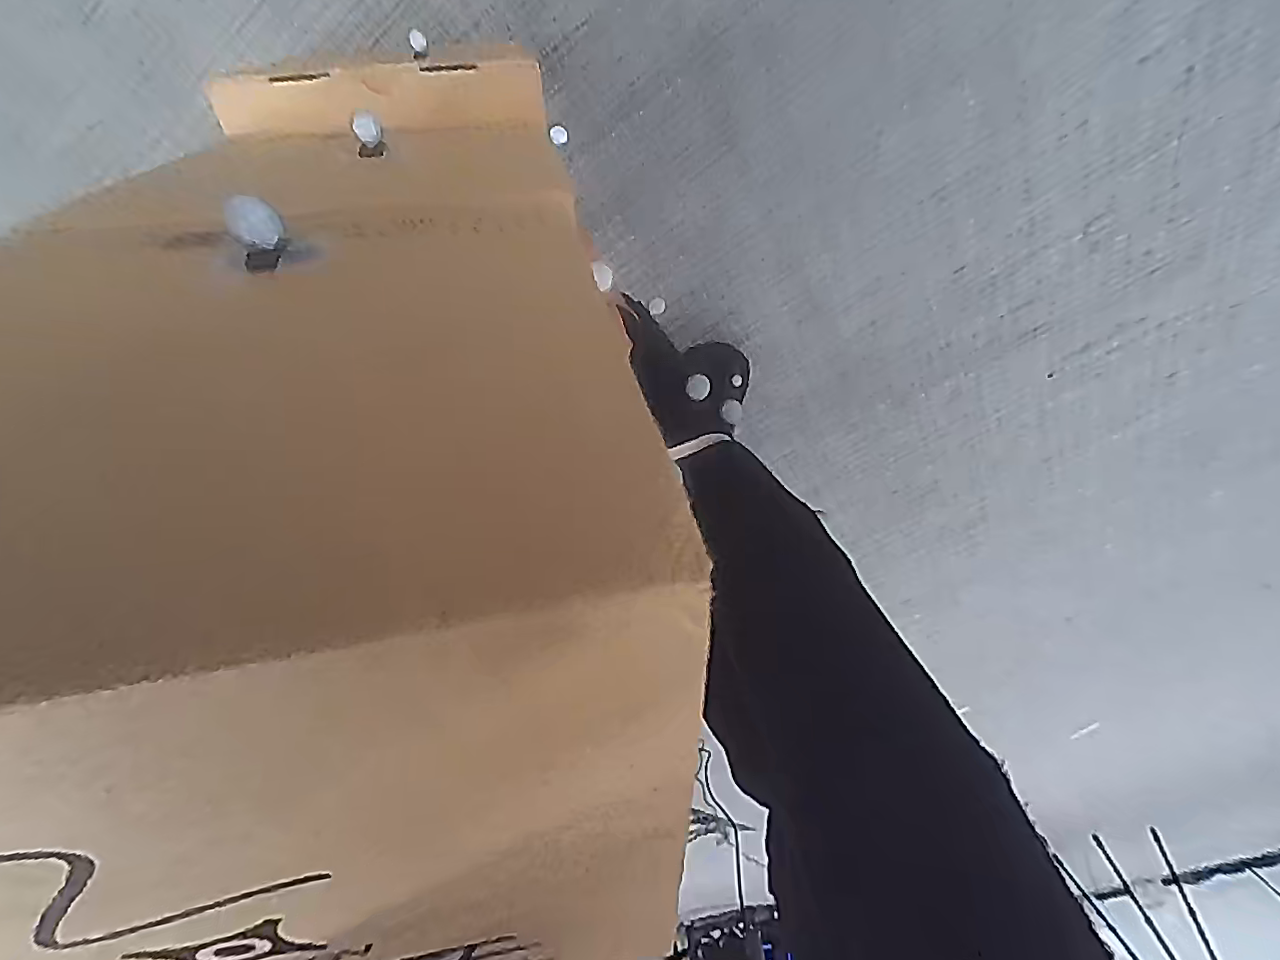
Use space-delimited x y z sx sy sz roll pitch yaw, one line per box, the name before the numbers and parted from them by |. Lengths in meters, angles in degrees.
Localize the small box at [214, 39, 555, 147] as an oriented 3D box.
small box | -0.143 -0.198 0.389 0.168 0.176 0.179 -10 132 -8
